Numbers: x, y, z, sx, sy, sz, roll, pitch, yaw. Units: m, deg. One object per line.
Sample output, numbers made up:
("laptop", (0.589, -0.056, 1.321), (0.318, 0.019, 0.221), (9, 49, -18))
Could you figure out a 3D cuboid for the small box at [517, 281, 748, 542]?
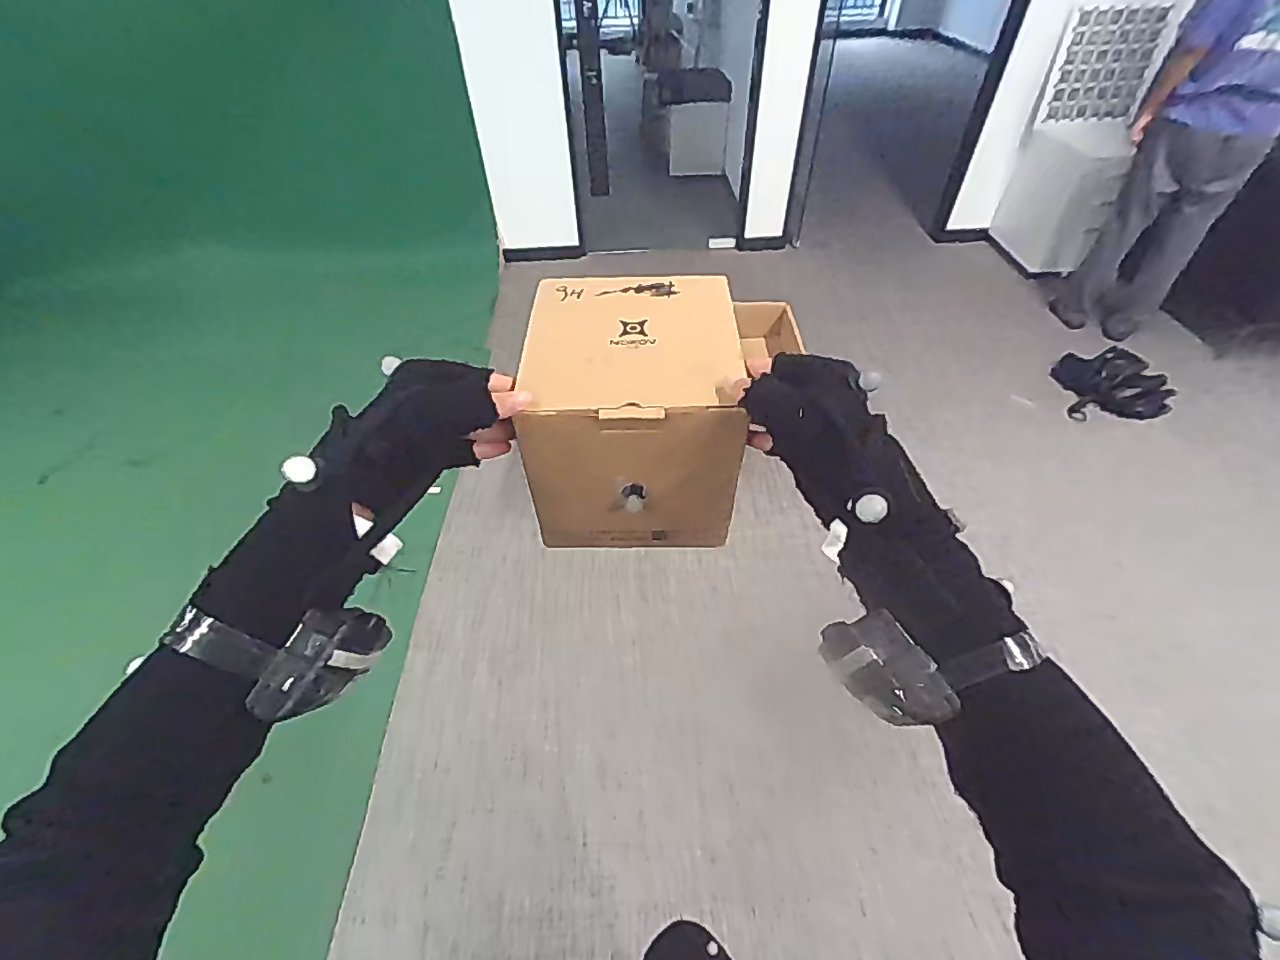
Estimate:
("small box", (-0.001, -0.056, 0.487), (0.168, 0.176, 0.179), (-1, 49, 1))
